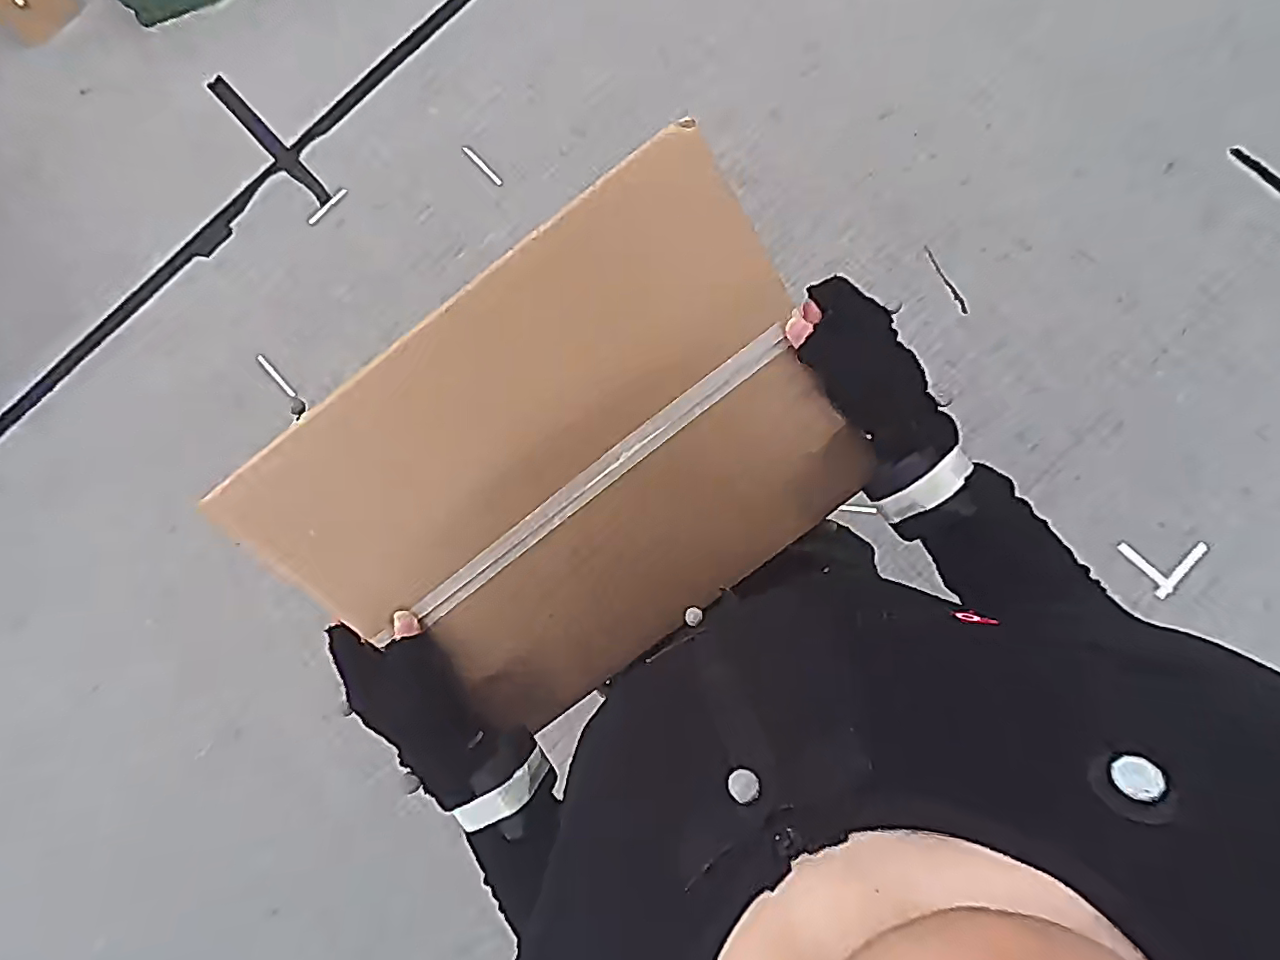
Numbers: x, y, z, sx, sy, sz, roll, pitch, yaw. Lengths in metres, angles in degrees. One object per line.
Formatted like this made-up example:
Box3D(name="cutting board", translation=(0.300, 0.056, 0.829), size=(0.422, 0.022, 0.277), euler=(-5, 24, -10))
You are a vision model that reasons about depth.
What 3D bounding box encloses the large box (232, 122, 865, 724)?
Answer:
Box3D(name="large box", translation=(-0.076, -0.055, 0.557), size=(0.408, 0.320, 0.320), euler=(-37, 114, 3))
